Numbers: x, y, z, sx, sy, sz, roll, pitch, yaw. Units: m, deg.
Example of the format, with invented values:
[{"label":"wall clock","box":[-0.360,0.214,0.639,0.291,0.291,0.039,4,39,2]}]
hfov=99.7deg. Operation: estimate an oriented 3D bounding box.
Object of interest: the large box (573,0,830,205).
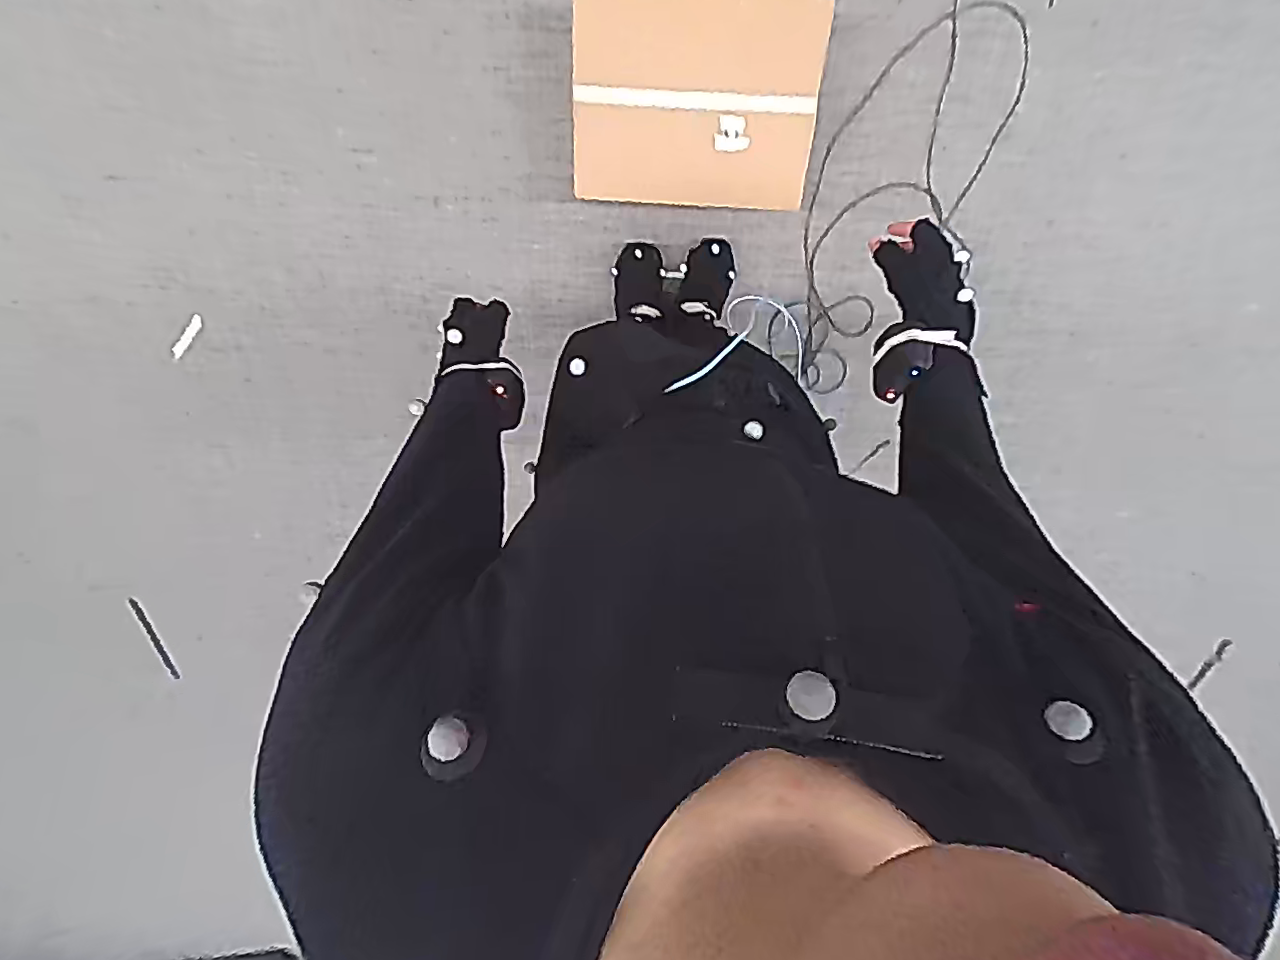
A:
[{"label":"large box","box":[0.092,-0.709,1.025,0.408,0.320,0.320,3,120,-1]}]
